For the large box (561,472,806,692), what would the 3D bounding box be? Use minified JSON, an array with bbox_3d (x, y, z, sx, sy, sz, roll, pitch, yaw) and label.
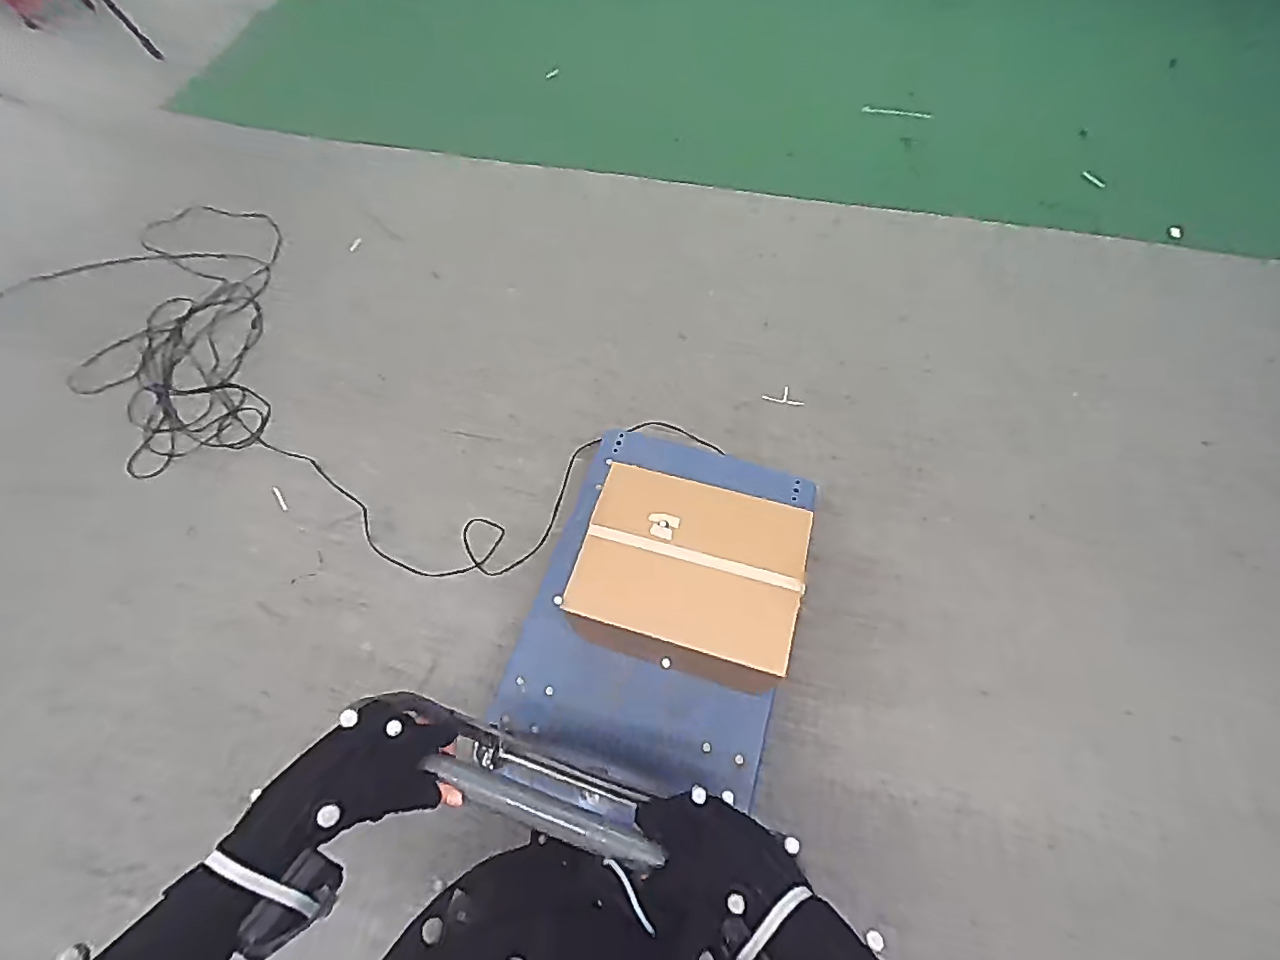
[{"bbox_3d":[0.099,0.224,1.136,0.408,0.320,0.320,14,63,11],"label":"large box"}]
